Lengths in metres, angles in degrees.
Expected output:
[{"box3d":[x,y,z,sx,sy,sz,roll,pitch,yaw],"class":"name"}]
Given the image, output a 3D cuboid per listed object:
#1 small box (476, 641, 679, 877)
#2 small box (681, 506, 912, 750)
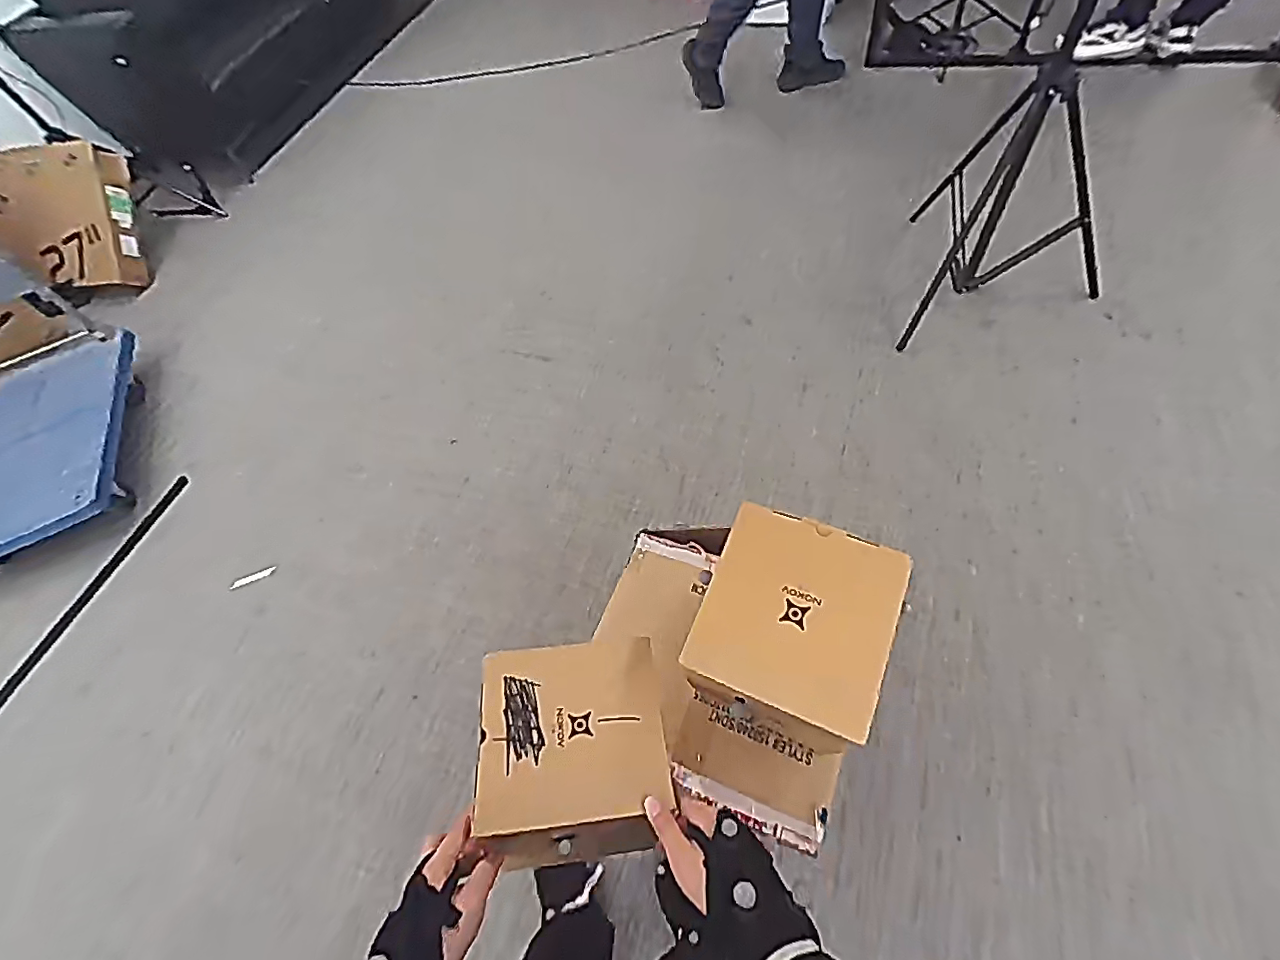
[{"box3d":[-0.064,0.293,0.567,0.179,0.176,0.168,-4,46,-8],"class":"small box"},{"box3d":[0.156,0.159,0.558,0.168,0.176,0.179,18,66,19],"class":"small box"}]
